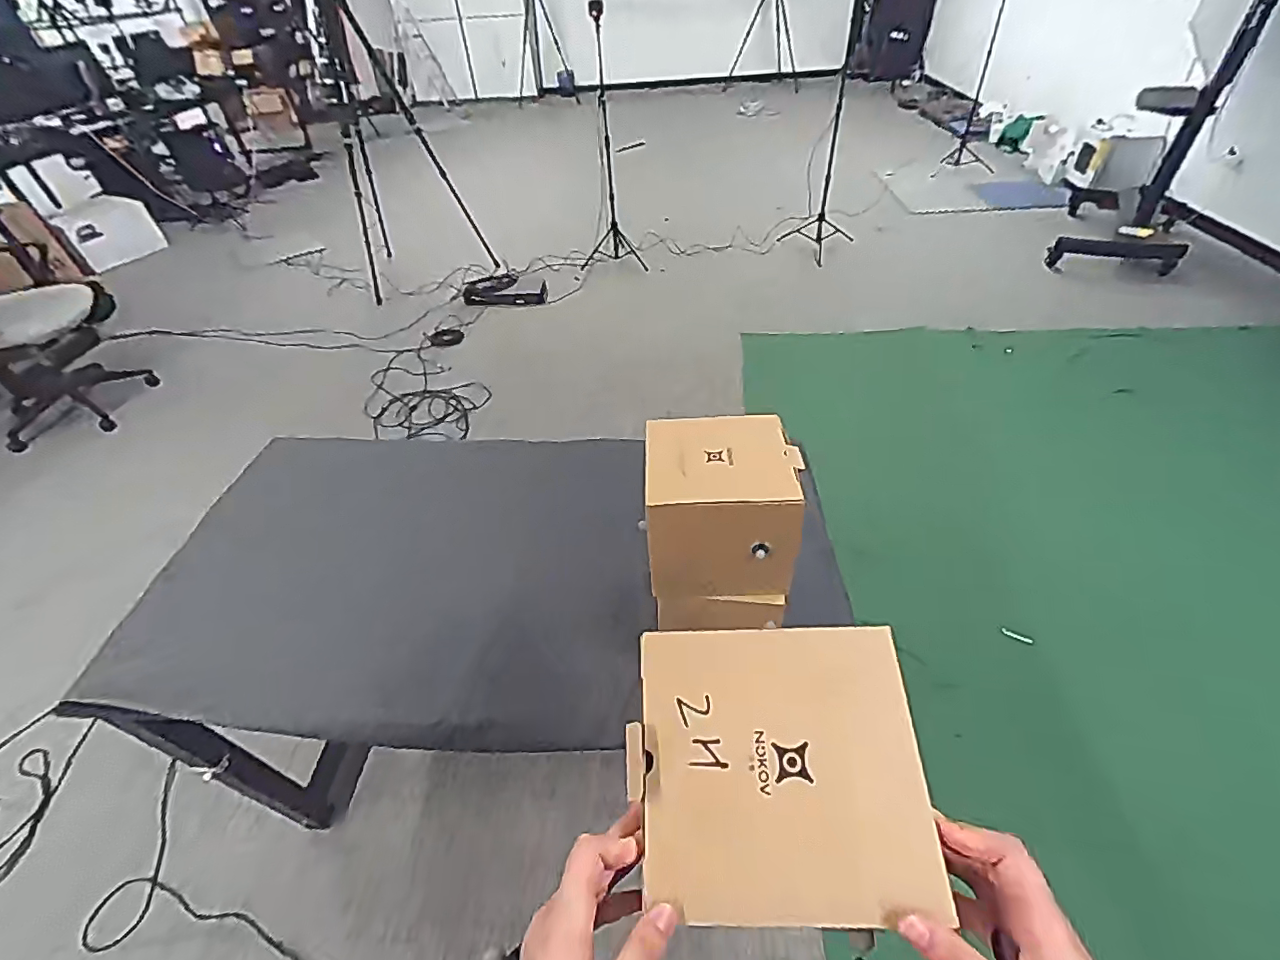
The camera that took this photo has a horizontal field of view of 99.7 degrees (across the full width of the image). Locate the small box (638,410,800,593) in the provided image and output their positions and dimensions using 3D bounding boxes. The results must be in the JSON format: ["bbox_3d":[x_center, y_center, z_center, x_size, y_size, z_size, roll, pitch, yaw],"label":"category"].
[{"bbox_3d":[0.092,0.029,0.691,0.179,0.176,0.168,-3,41,4],"label":"small box"}]

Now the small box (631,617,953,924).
[{"bbox_3d":[0.089,0.204,0.401,0.179,0.176,0.168,-3,60,6],"label":"small box"}]

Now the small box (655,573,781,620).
[{"bbox_3d":[0.113,0.149,0.799,0.168,0.176,0.179,3,43,9],"label":"small box"}]
